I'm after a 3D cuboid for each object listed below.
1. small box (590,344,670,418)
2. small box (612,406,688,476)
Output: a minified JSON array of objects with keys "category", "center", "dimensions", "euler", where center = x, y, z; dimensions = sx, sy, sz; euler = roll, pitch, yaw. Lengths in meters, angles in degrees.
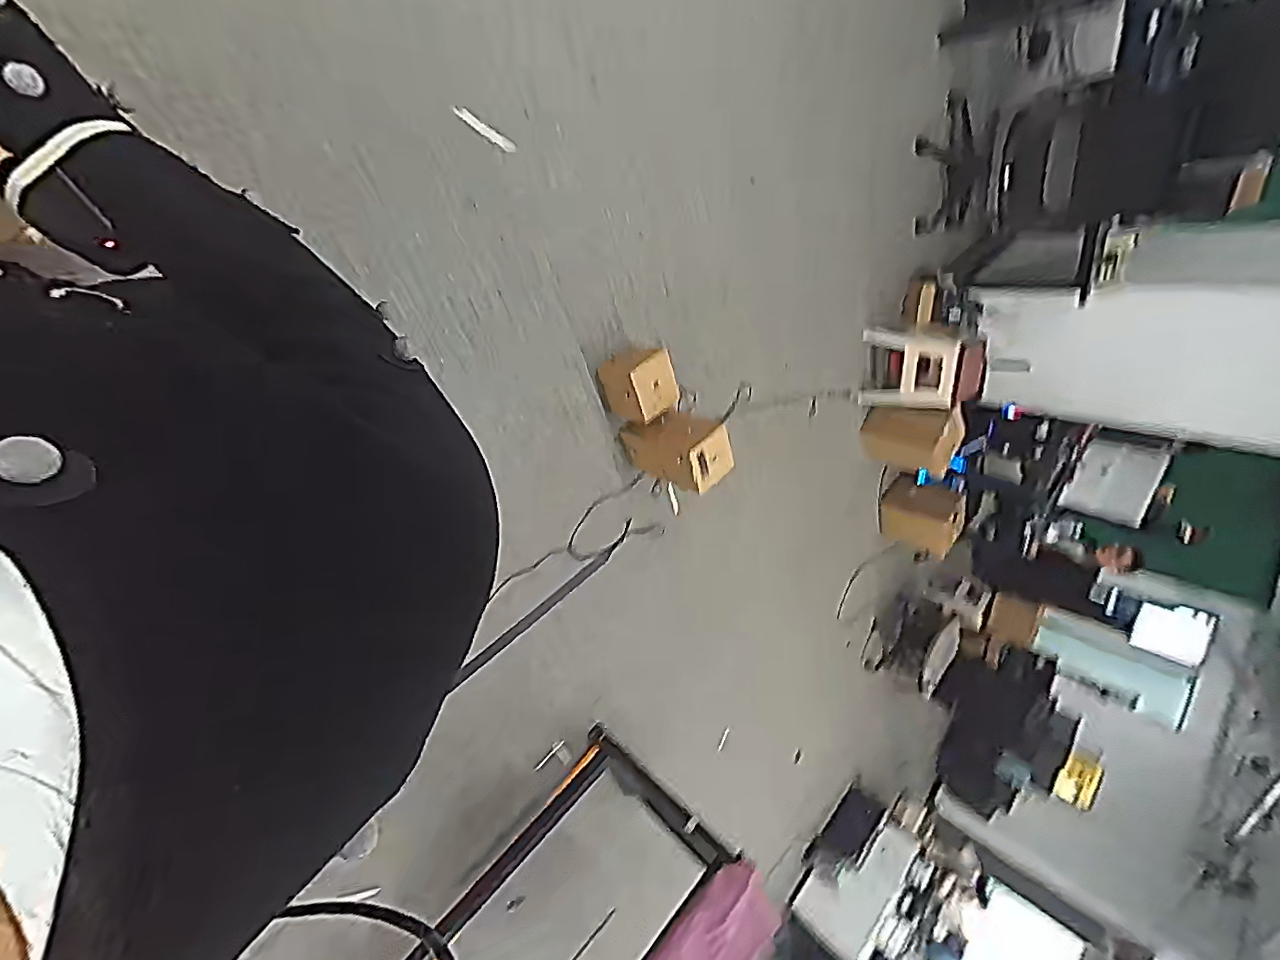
[{"category":"small box","center":[-0.034,-0.324,1.727],"dimensions":[0.168,0.176,0.179],"euler":[-39,128,-27]},{"category":"small box","center":[0.034,-0.147,1.861],"dimensions":[0.179,0.176,0.168],"euler":[-40,129,-25]}]
